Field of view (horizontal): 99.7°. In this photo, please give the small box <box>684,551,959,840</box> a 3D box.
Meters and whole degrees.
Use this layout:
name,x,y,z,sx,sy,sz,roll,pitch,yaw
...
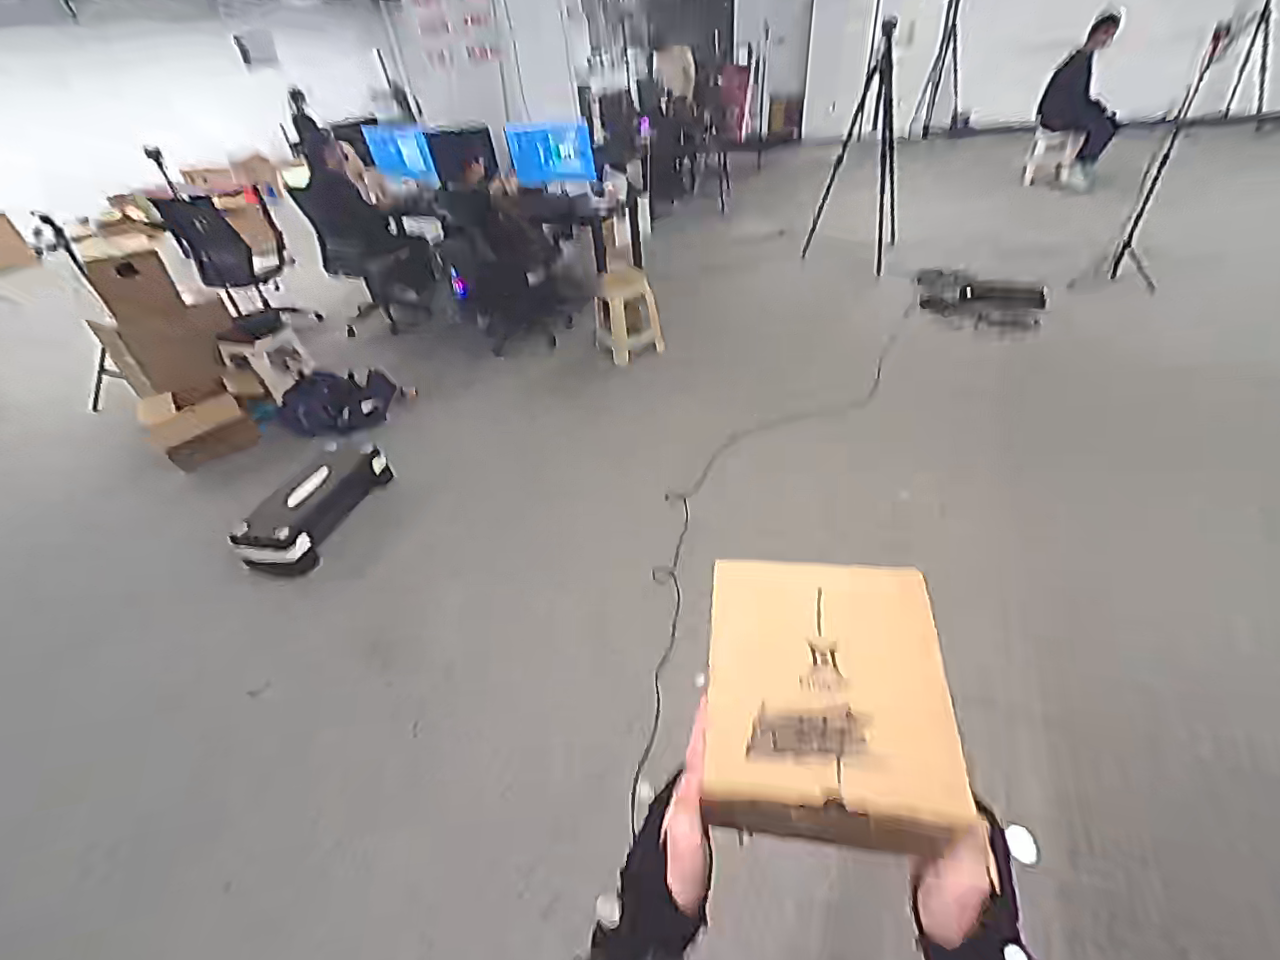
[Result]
name,x,y,z,sx,sy,sz,roll,pitch,yaw
small box,0.132,0.178,0.442,0.168,0.176,0.179,2,54,11
